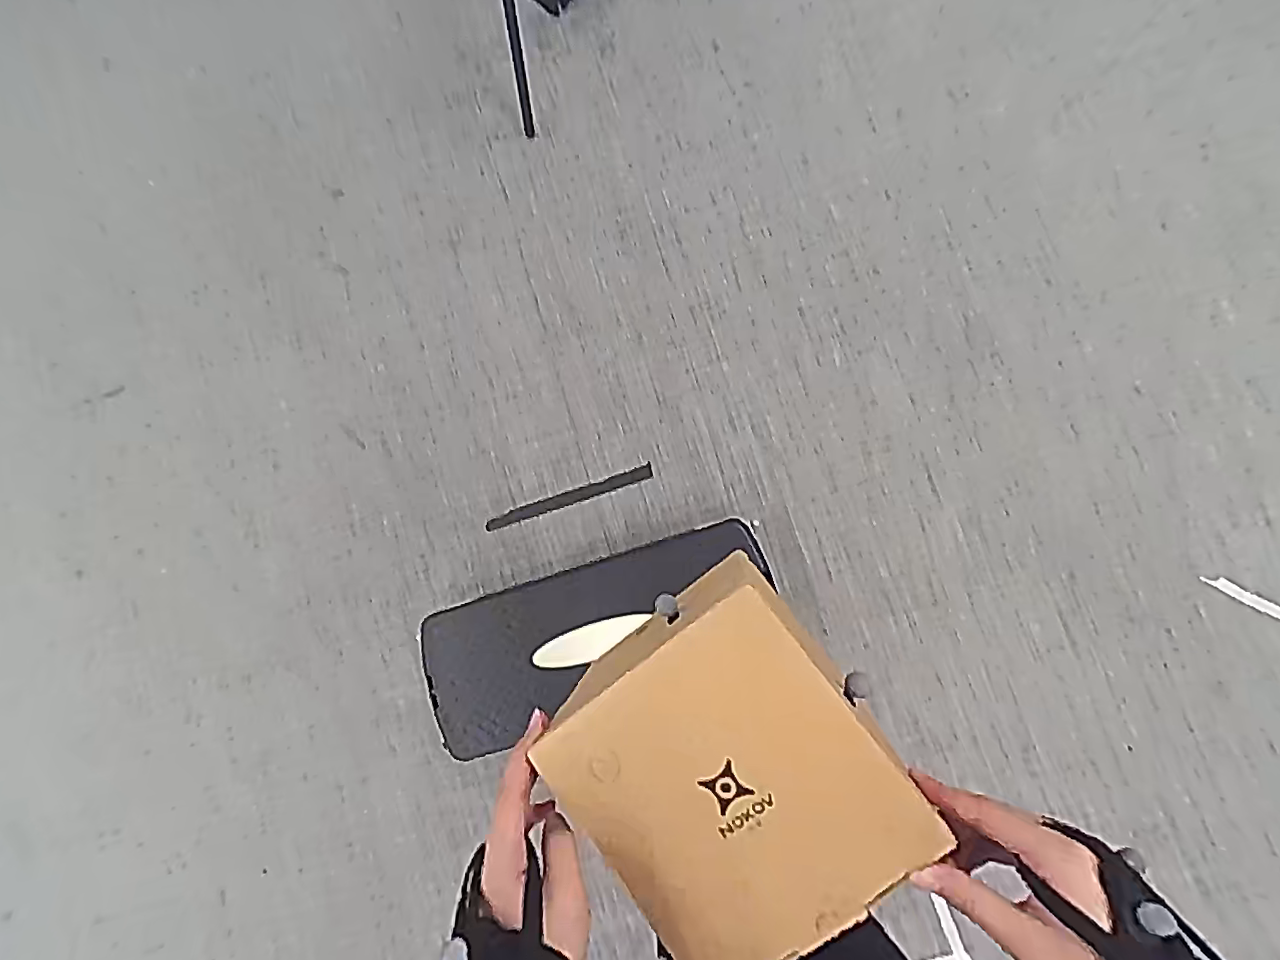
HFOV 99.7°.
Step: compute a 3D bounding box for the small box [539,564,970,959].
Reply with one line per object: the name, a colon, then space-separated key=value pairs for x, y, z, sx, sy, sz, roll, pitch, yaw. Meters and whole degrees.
small box: x=0.065 y=0.173 z=0.370 sx=0.168 sy=0.176 sz=0.179 roll=-39 pitch=85 yaw=5
